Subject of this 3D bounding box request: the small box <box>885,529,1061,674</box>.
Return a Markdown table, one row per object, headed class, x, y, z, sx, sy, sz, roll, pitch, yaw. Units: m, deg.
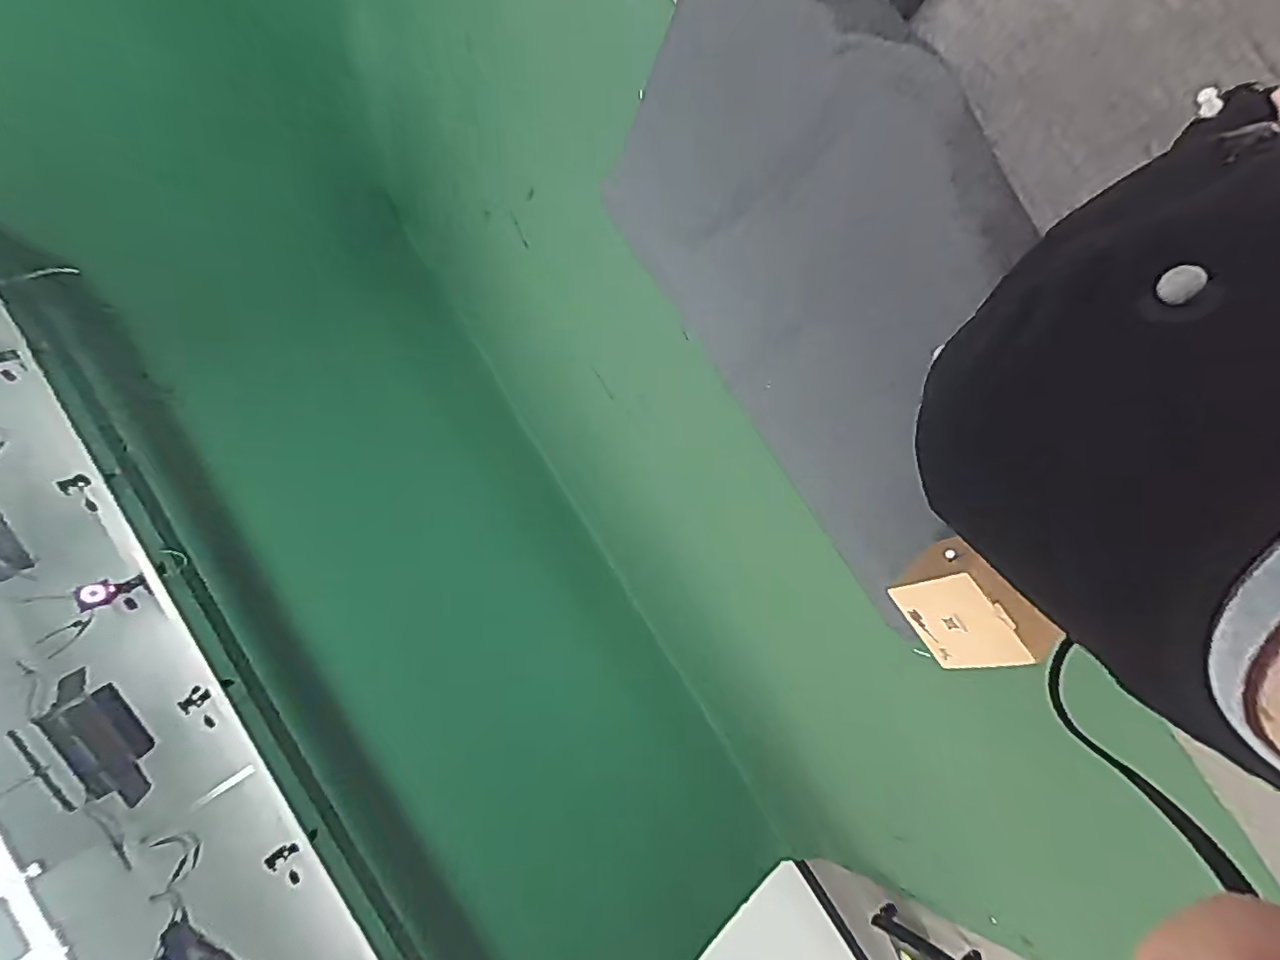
| class | x | y | z | sx | sy | sz | roll | pitch | yaw |
| --- | --- | --- | --- | --- | --- | --- | --- | --- | --- |
| small box | 0.571 | 0.206 | 0.921 | 0.168 | 0.176 | 0.179 | 56 | 151 | 7 |
